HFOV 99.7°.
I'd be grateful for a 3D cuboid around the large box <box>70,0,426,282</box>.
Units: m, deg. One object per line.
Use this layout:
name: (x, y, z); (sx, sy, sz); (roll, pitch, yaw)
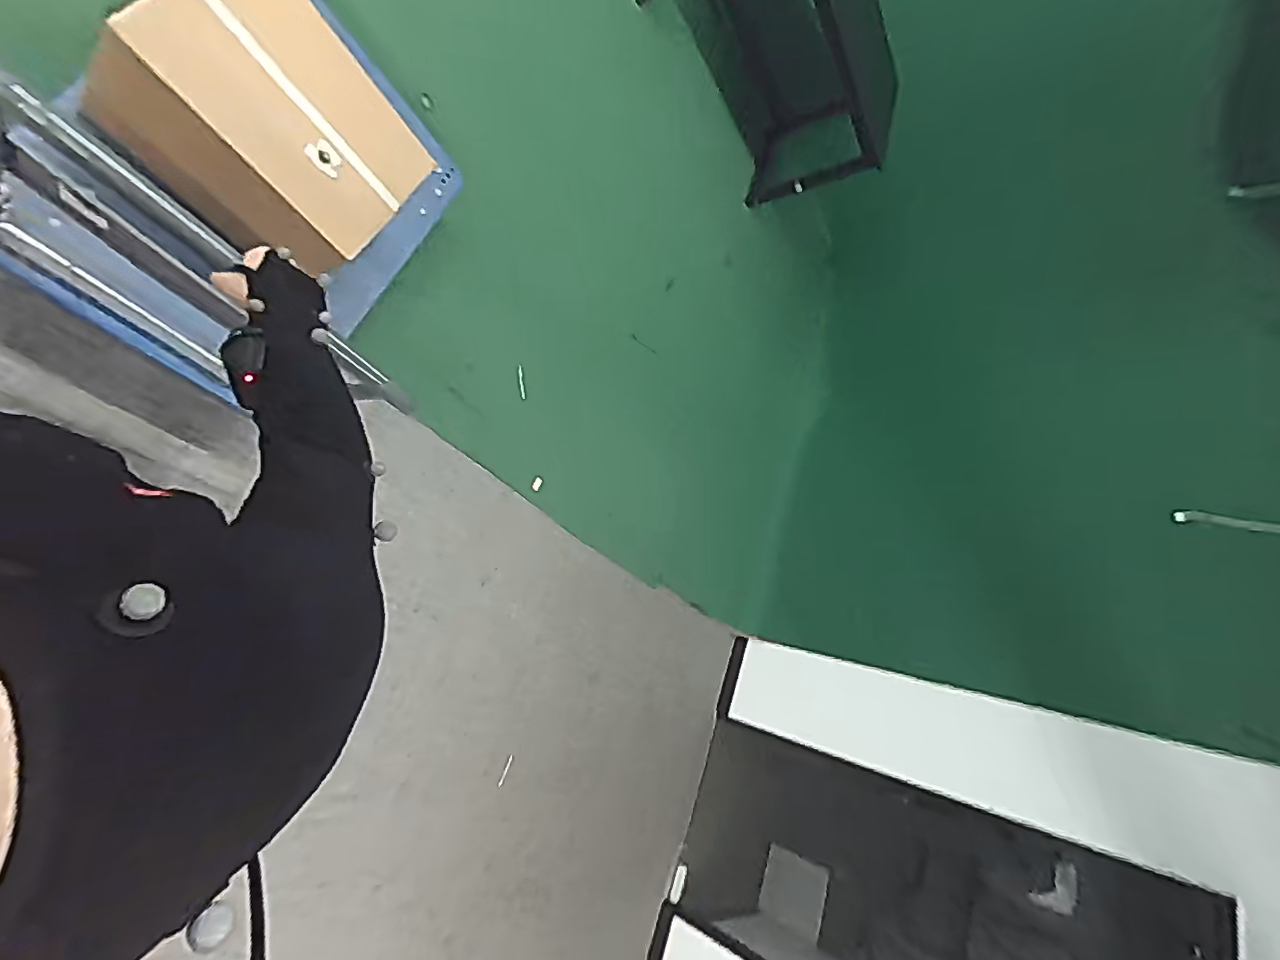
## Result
large box: (-0.723, -0.664, 1.040); (0.408, 0.320, 0.320); (49, 55, -42)
